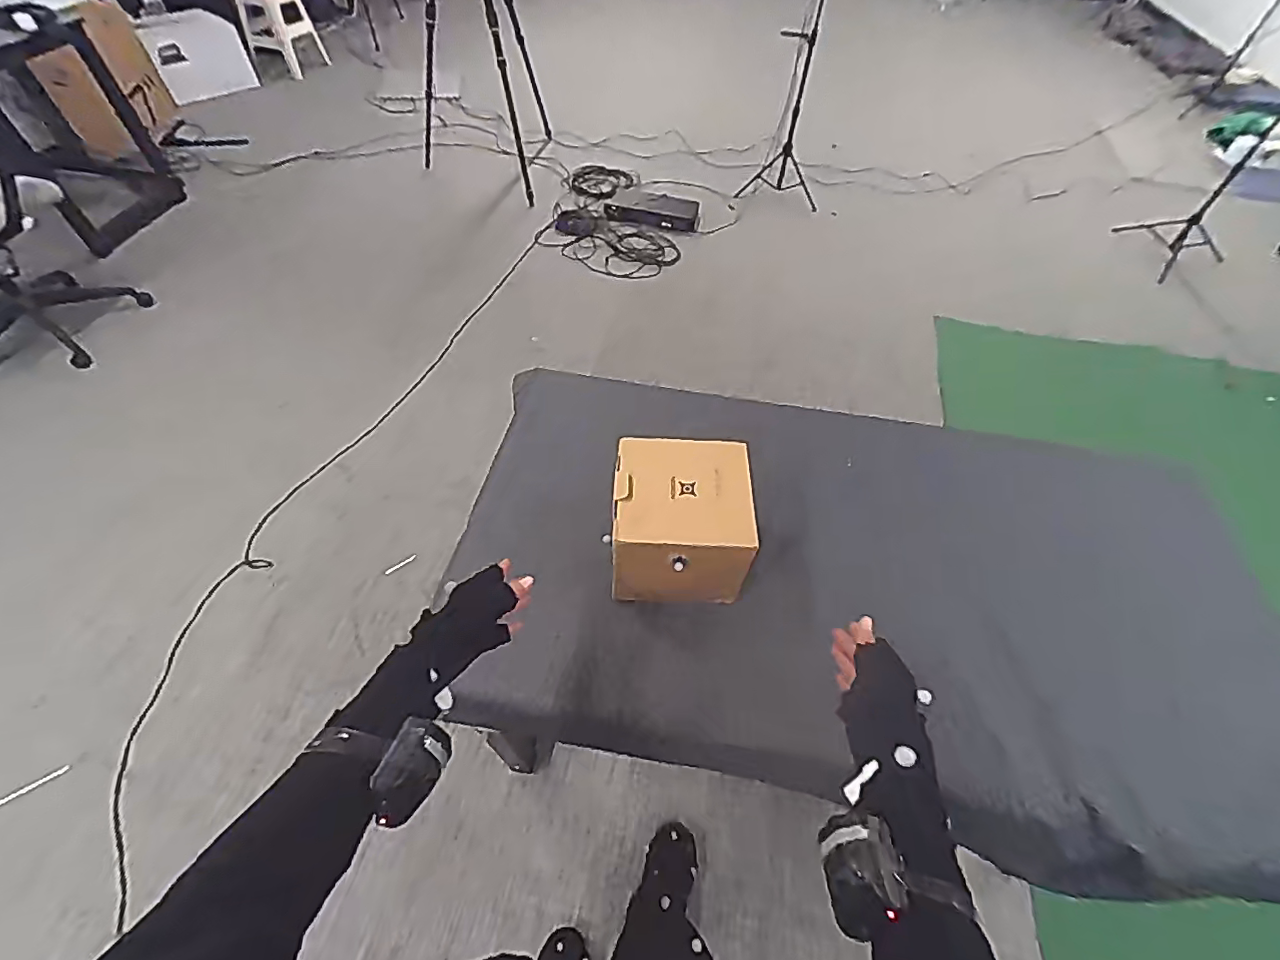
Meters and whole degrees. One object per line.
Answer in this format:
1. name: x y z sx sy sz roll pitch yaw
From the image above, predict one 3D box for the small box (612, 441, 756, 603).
1. small box: 0.051 0.063 0.758 0.179 0.176 0.168 3 54 -3
